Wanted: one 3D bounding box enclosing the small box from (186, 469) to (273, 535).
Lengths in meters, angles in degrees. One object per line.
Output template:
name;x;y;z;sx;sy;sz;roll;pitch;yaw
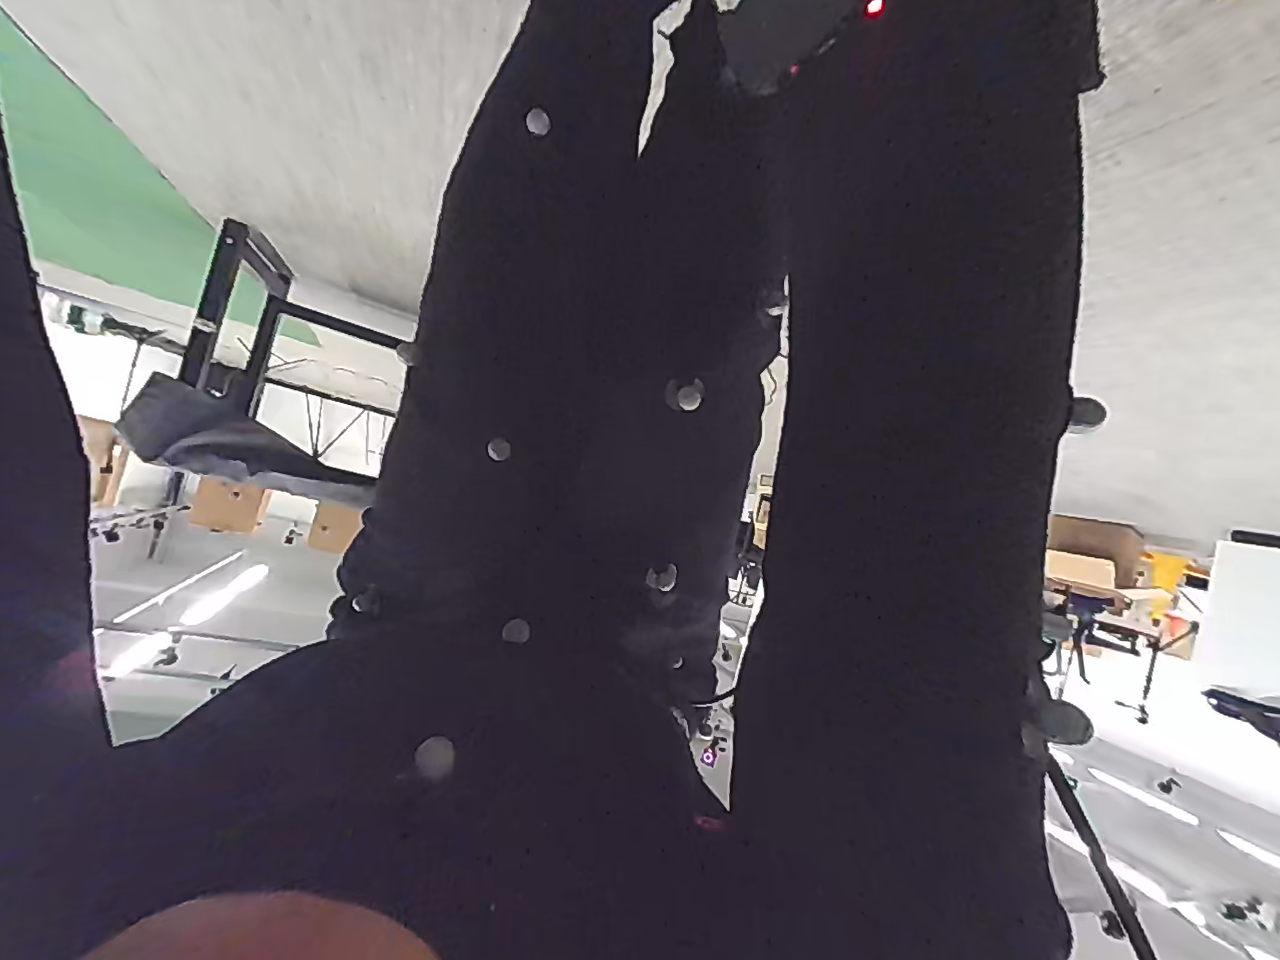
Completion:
small box;-1.288;0.064;1.711;0.168;0.176;0.179;16;177;-26
